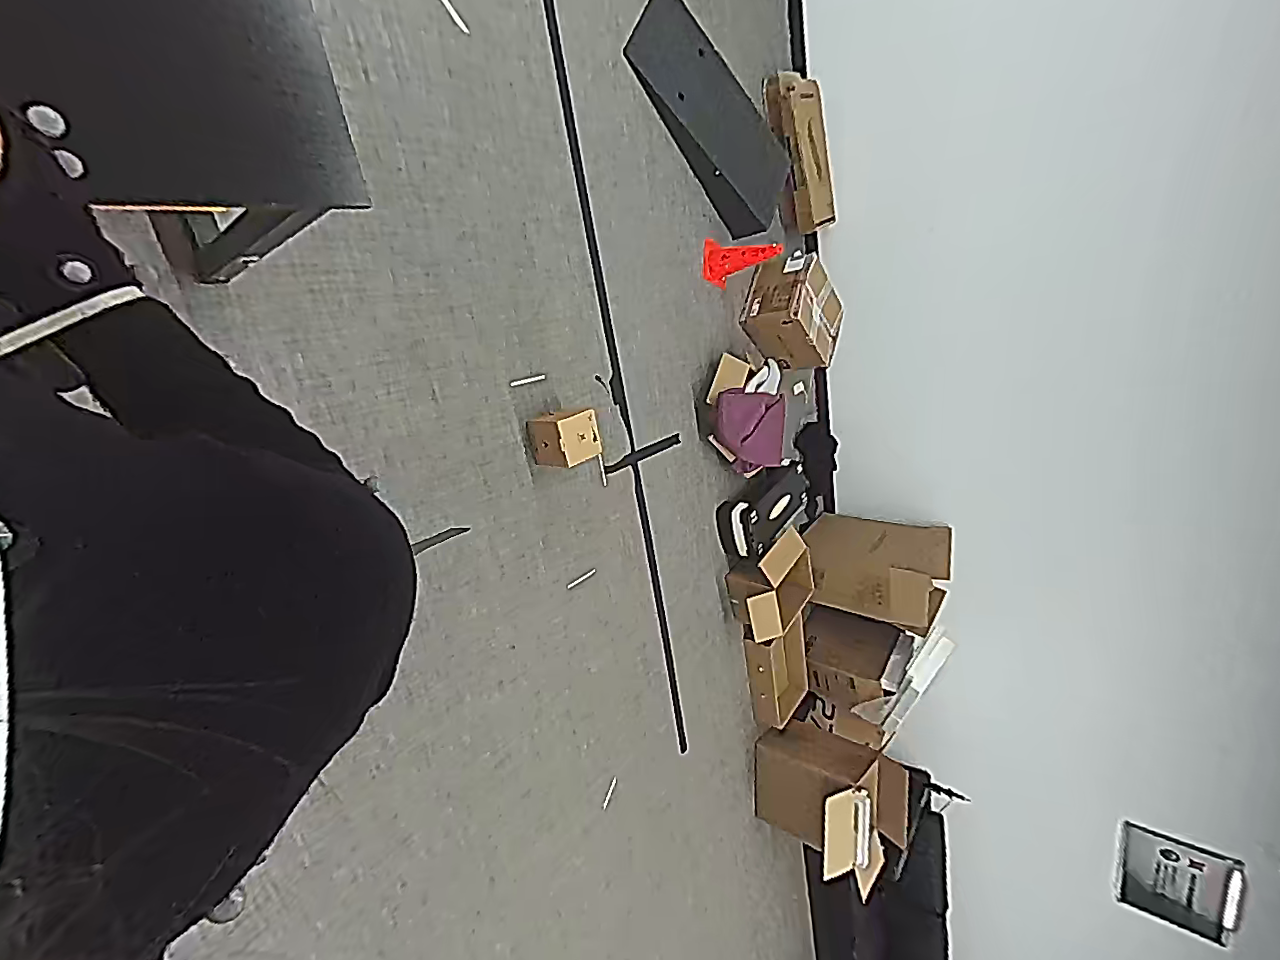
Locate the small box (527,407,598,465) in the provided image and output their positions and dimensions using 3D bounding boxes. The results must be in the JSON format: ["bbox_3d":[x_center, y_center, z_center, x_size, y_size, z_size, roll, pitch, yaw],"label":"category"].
[{"bbox_3d":[-0.281,-0.156,1.911,0.179,0.176,0.168,-28,115,-44],"label":"small box"}]
